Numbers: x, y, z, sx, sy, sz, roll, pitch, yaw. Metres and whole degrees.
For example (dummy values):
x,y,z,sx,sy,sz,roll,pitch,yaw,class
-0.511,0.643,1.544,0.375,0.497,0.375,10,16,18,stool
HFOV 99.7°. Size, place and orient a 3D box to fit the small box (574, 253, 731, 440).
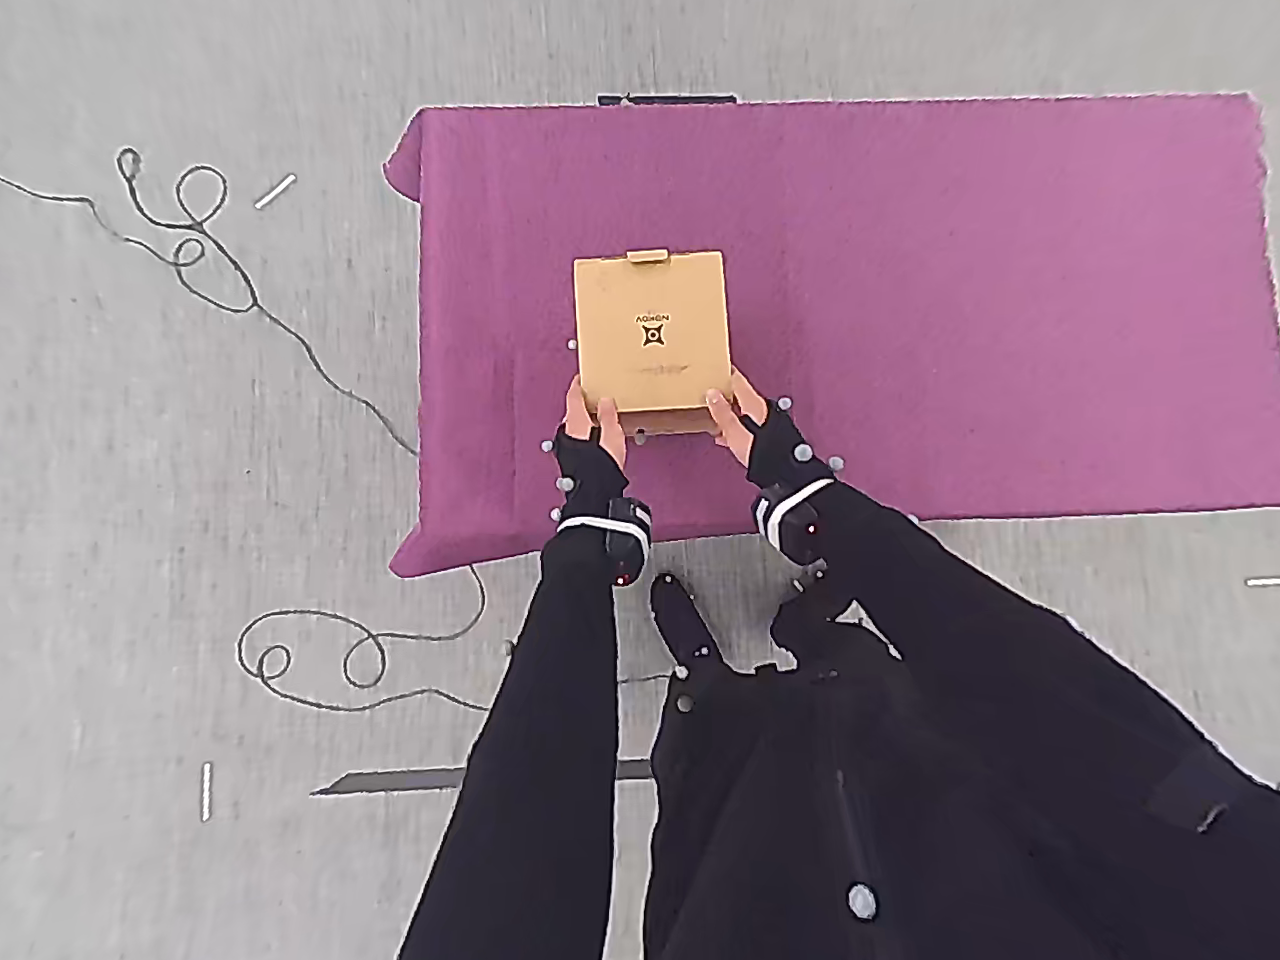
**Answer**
x,y,z,sx,sy,sz,roll,pitch,yaw,class
0.010,-0.151,0.658,0.168,0.176,0.179,-3,85,-1,small box
